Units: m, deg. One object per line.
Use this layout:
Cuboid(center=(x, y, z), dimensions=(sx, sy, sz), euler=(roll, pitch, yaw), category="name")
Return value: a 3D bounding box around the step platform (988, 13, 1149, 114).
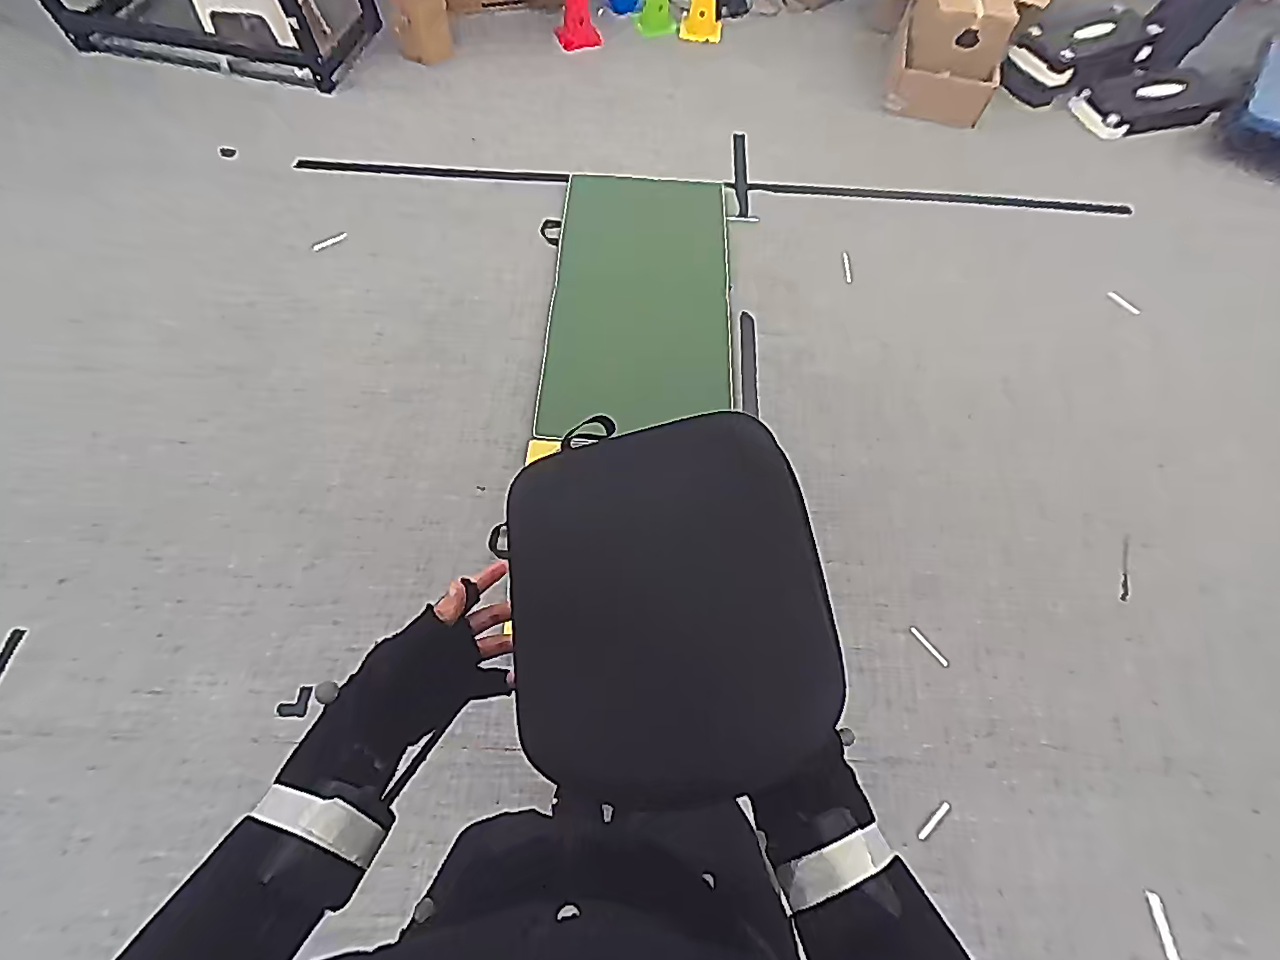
Cuboid(center=(2.014, -1.963, 2.540), dimensions=(0.684, 0.204, 0.286), euler=(-24, 68, -13), category="step platform")
